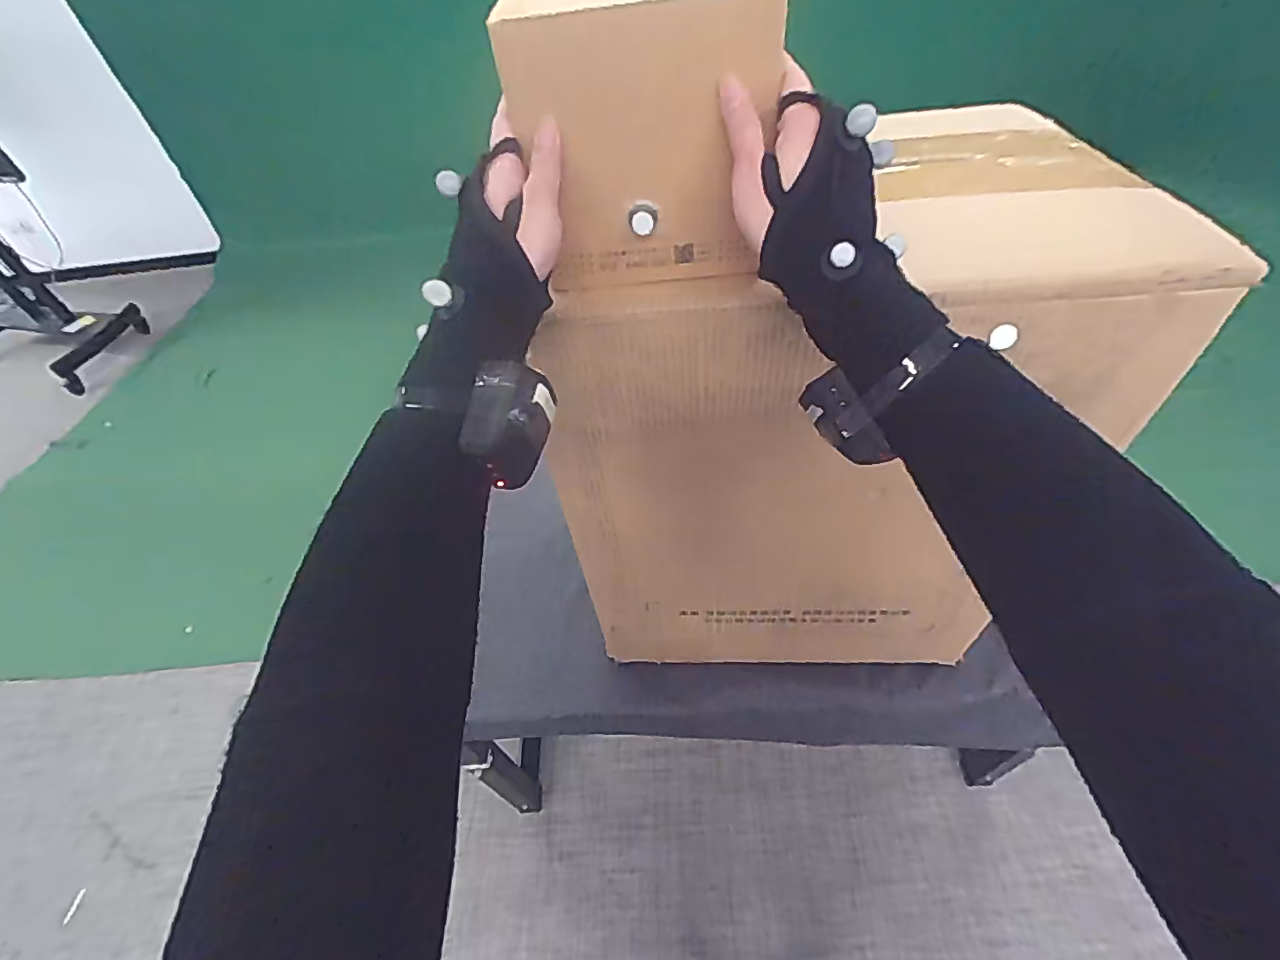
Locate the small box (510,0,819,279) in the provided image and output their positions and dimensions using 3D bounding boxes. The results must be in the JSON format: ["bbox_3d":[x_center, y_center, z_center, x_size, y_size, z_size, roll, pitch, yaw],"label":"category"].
[{"bbox_3d":[0.022,-0.267,0.391,0.168,0.176,0.179,-1,51,6],"label":"small box"}]
